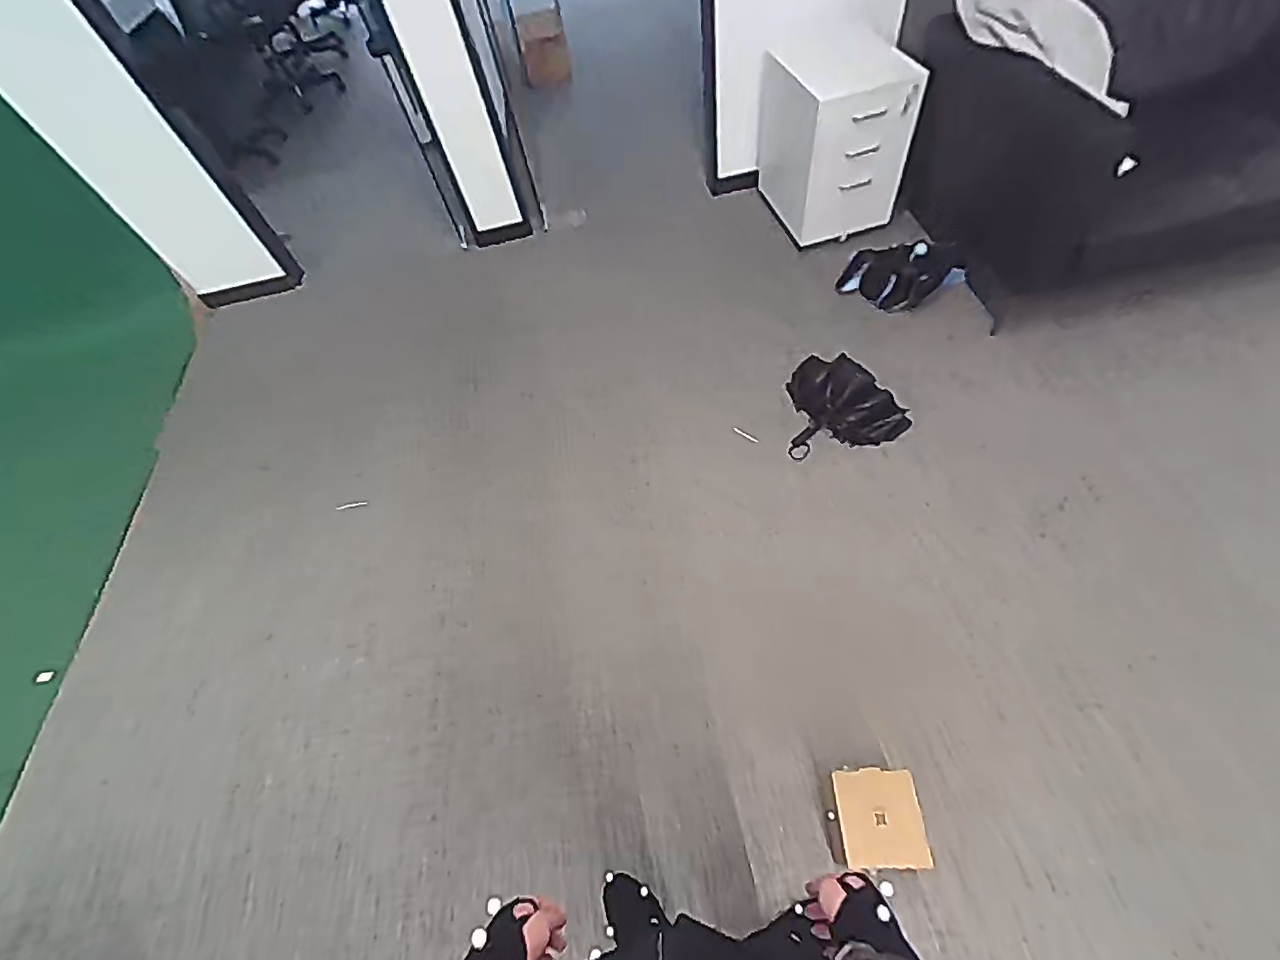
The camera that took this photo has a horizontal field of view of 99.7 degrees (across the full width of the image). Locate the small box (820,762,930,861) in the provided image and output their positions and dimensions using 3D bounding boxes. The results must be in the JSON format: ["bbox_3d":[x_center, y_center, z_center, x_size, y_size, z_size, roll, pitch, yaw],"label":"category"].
[{"bbox_3d":[0.502,0.726,1.185,0.168,0.176,0.179,-6,58,7],"label":"small box"}]
